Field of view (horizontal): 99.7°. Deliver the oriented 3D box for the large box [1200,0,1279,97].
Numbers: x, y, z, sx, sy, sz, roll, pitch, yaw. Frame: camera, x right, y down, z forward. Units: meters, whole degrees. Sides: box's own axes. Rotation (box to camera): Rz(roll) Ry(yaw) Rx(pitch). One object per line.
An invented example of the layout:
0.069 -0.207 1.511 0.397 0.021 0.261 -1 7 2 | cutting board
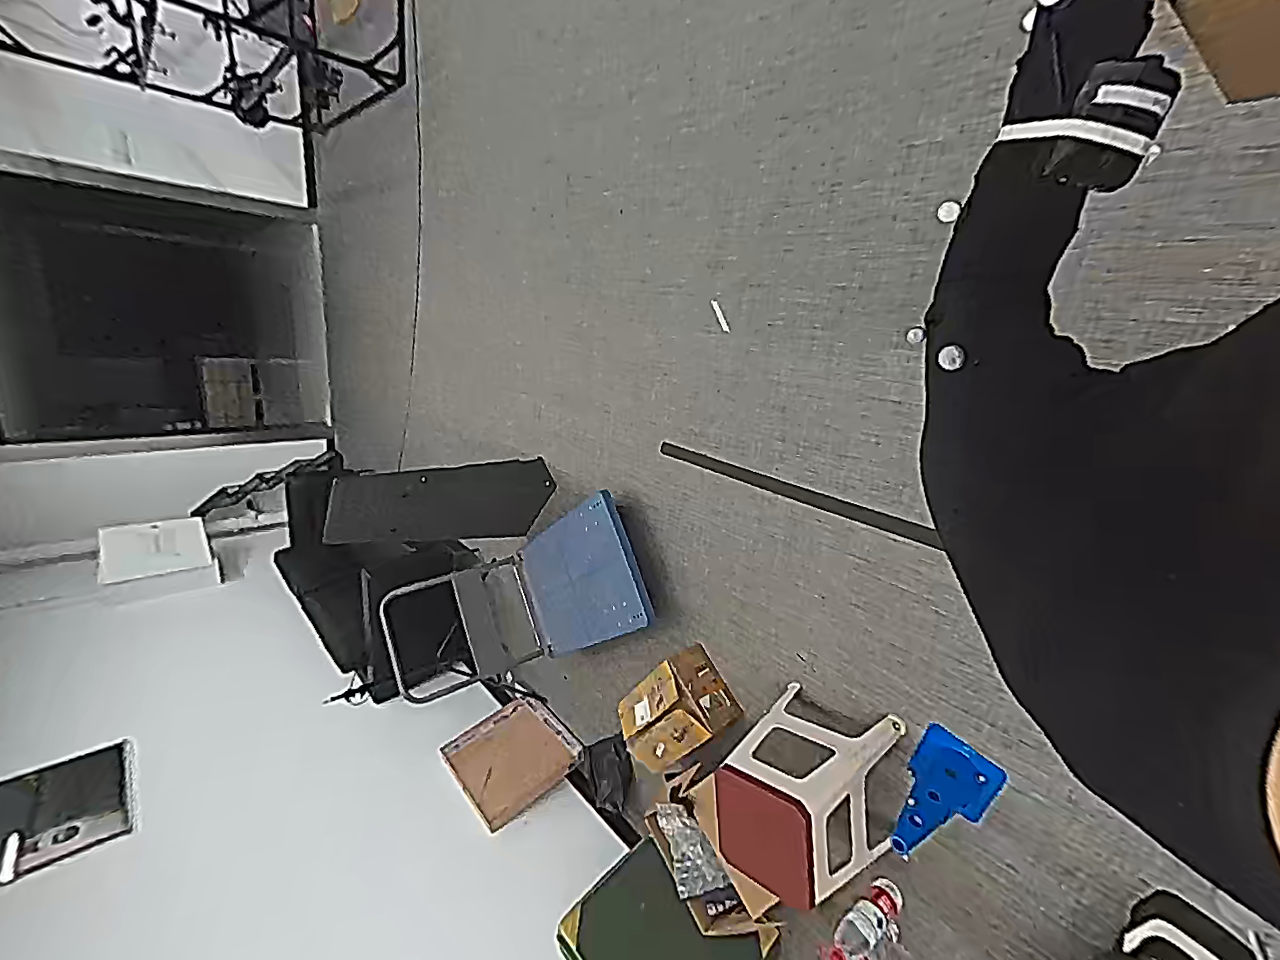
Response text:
0.547 -0.409 0.208 0.408 0.320 0.320 21 119 46 | large box
